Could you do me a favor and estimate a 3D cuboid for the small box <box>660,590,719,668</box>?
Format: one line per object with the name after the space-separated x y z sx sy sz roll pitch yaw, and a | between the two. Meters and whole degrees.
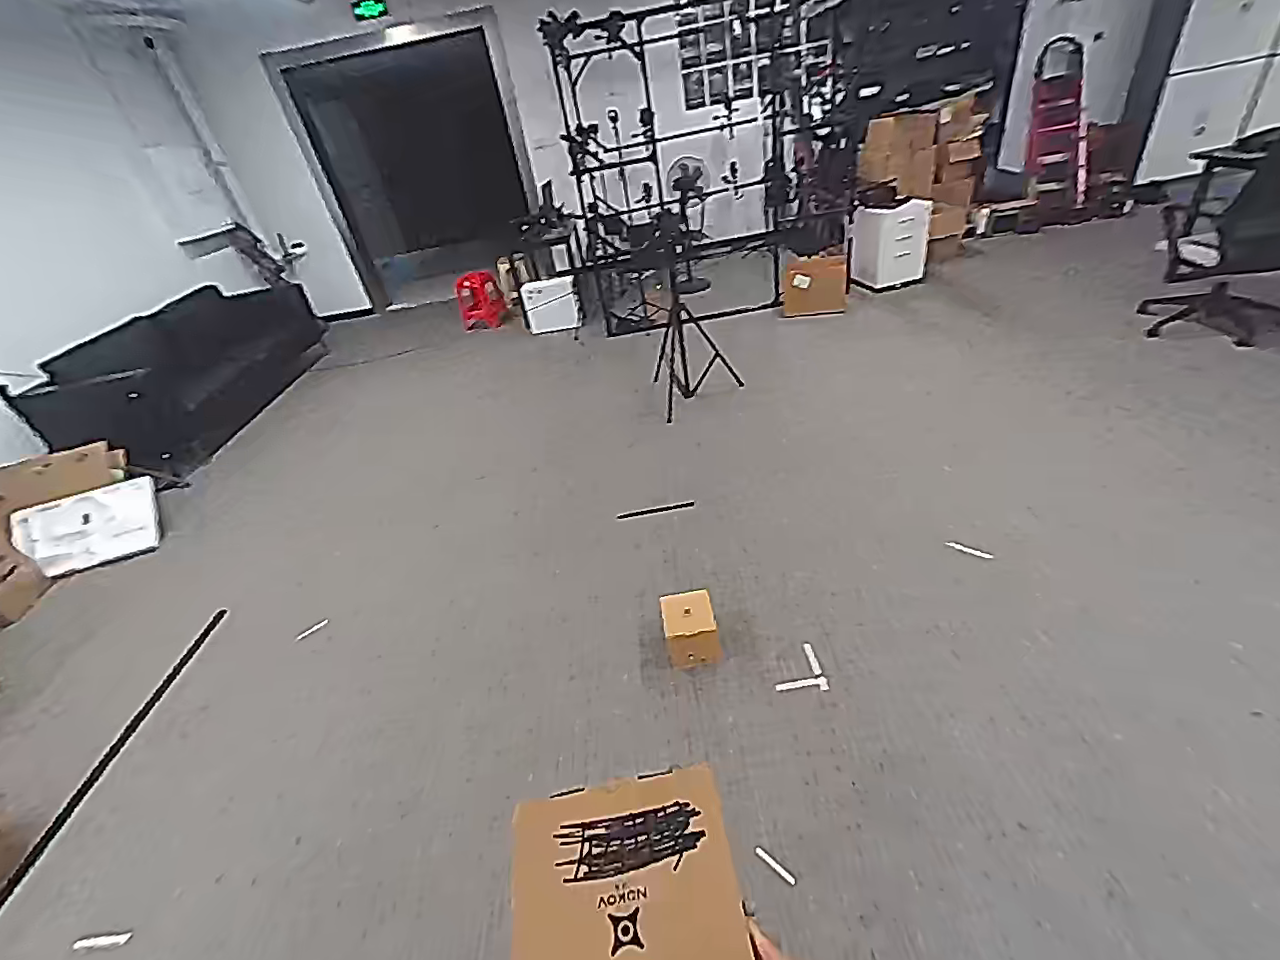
0.165 0.500 1.818 0.168 0.176 0.179 -11 34 1 | small box
